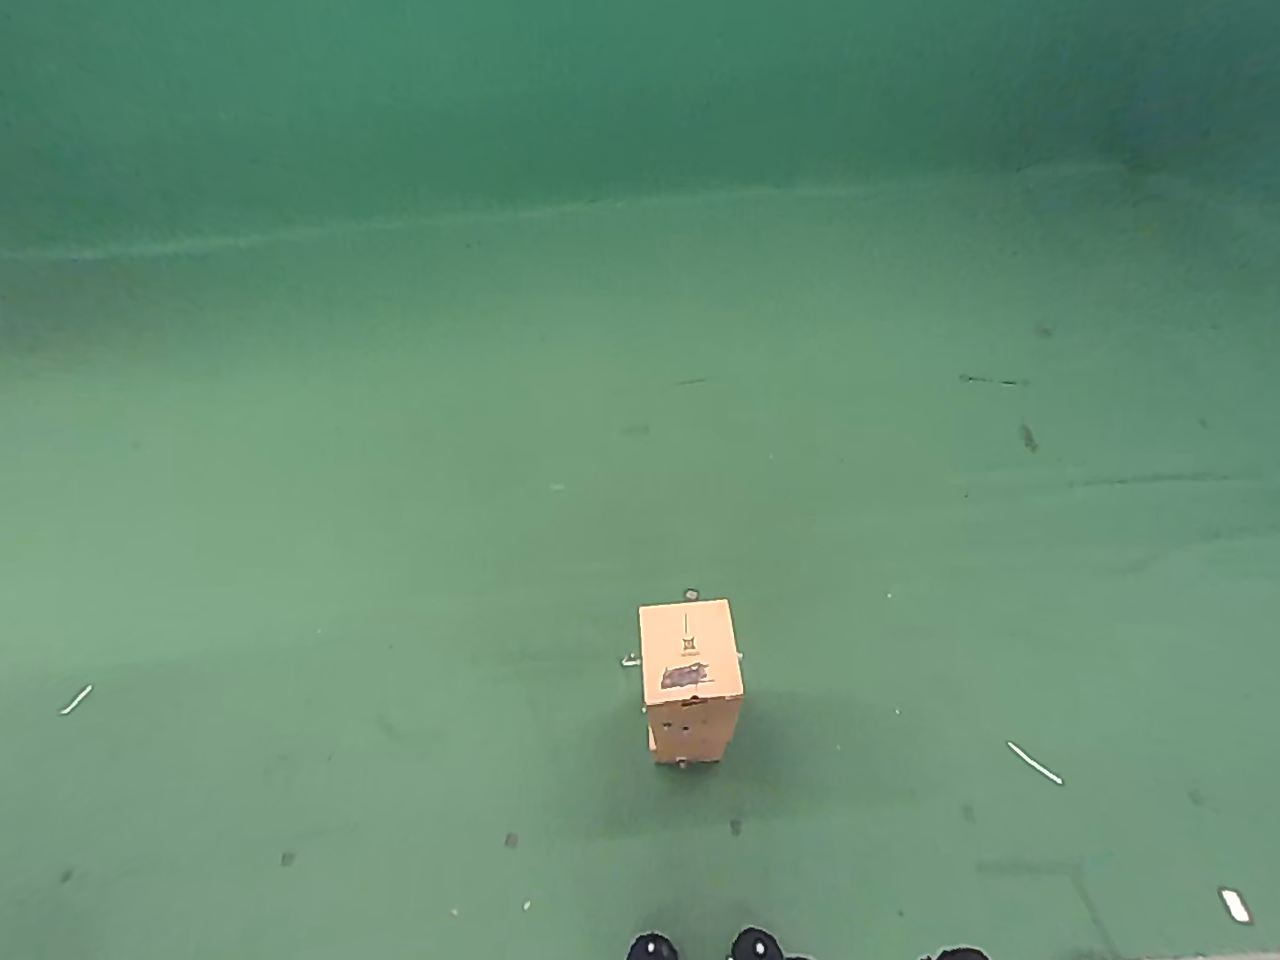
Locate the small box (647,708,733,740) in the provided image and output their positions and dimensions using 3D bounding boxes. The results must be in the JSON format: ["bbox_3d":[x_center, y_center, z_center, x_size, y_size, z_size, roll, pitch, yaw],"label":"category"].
[{"bbox_3d":[0.095,0.434,1.137,0.168,0.176,0.179,-5,52,1],"label":"small box"}]

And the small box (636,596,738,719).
[{"bbox_3d":[0.083,0.336,1.005,0.168,0.176,0.179,-4,52,0],"label":"small box"}]

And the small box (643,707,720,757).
[{"bbox_3d":[0.093,0.527,1.249,0.168,0.176,0.179,-3,53,3],"label":"small box"}]
